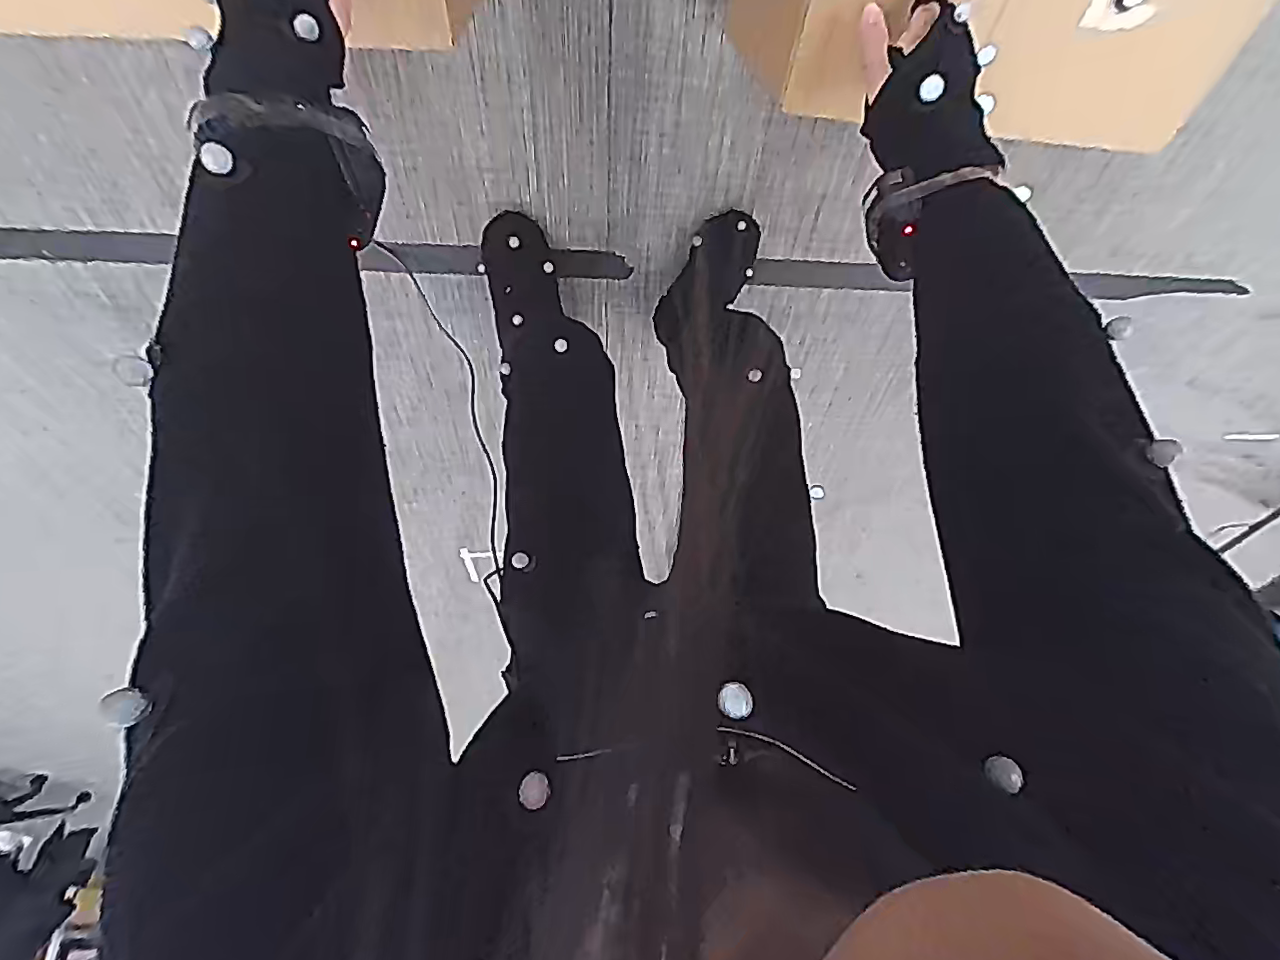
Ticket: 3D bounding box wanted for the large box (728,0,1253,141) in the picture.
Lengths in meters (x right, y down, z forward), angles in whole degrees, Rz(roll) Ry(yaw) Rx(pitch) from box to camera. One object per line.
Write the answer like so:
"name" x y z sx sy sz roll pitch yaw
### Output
"large box" 0.333 -0.563 0.520 0.408 0.320 0.320 1 139 -8
